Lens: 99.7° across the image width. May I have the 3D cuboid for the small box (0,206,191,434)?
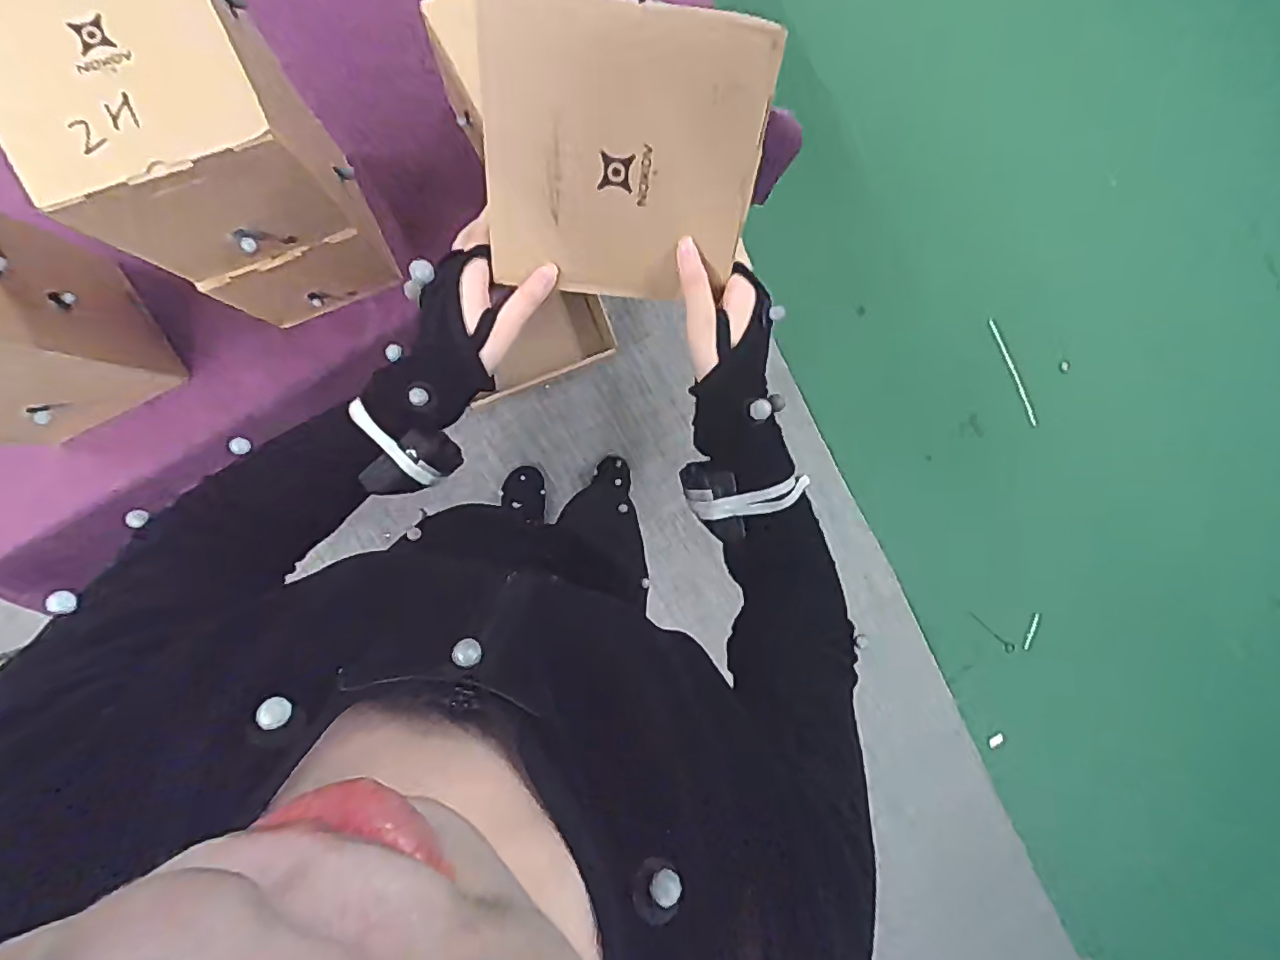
[{"bbox_3d":[-0.658,-0.157,0.584,0.179,0.176,0.168,-29,99,-6],"label":"small box"}]

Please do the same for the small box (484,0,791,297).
[{"bbox_3d":[-0.012,-0.258,0.408,0.179,0.176,0.168,4,132,-6],"label":"small box"}]

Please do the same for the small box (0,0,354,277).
[{"bbox_3d":[-0.378,-0.300,0.453,0.168,0.176,0.179,-23,97,-7],"label":"small box"}]

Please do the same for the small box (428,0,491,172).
[{"bbox_3d":[-0.119,-0.453,0.649,0.168,0.176,0.179,-29,97,-6],"label":"small box"}]

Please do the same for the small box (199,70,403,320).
[{"bbox_3d":[-0.402,-0.306,0.616,0.168,0.176,0.179,-24,98,-6],"label":"small box"}]
